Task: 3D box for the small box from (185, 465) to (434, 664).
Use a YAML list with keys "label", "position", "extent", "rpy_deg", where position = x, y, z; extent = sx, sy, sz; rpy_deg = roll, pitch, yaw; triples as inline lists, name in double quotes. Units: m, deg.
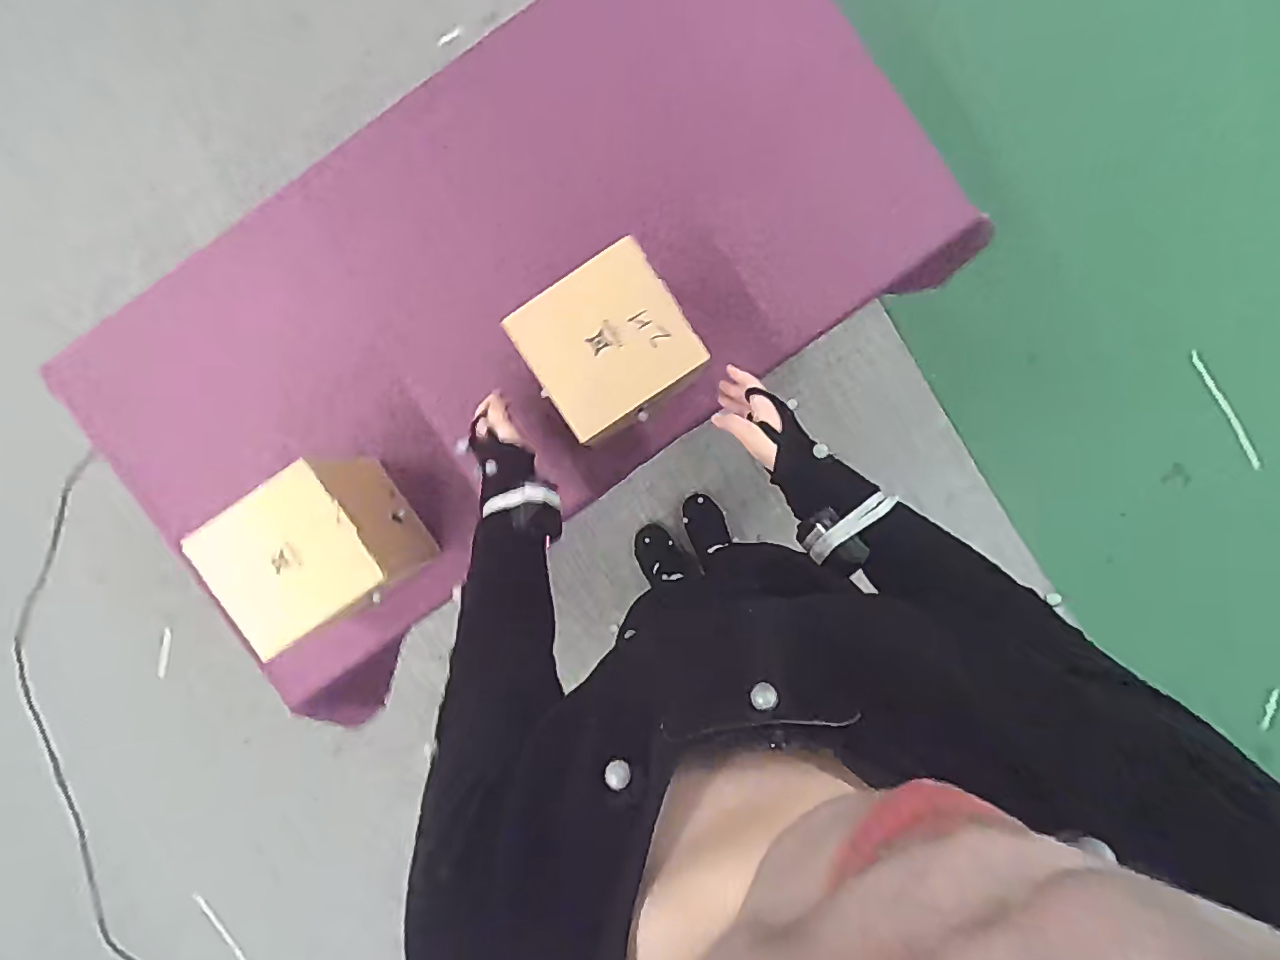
- label: "small box"
  position: [-0.403, 0.097, 0.694]
  extent: [0.179, 0.176, 0.168]
  rpy_deg: [-35, 91, 0]
